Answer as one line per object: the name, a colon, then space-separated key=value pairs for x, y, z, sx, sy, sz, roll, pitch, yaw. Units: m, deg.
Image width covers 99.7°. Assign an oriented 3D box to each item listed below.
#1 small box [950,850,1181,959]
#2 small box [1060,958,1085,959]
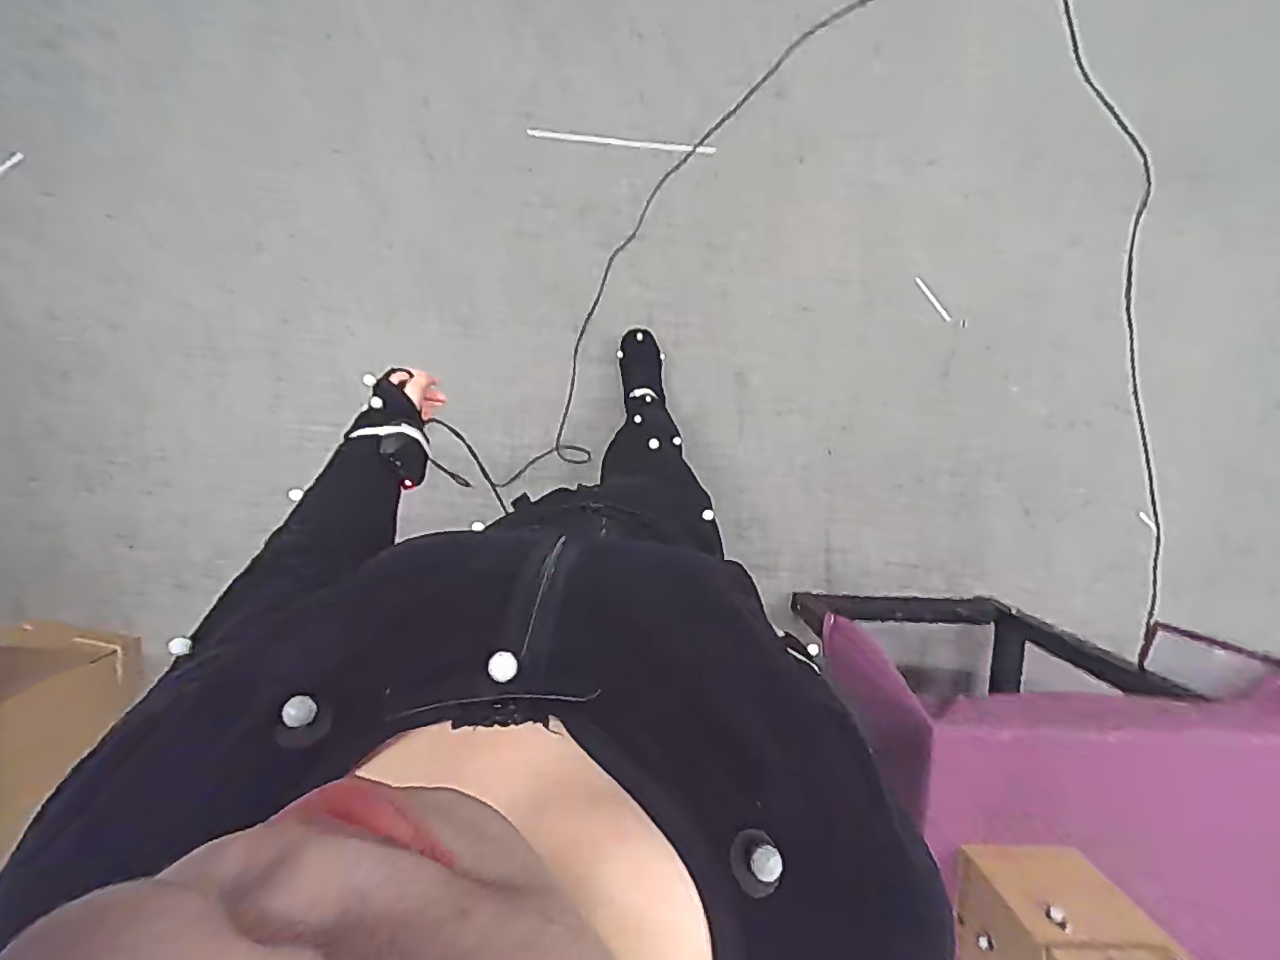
small box: x=0.551 y=0.635 z=0.725 sx=0.179 sy=0.176 sz=0.168 roll=3 pitch=96 yaw=-1
small box: x=0.552 y=0.650 z=0.561 sx=0.168 sy=0.176 sz=0.179 roll=2 pitch=96 yaw=-1
